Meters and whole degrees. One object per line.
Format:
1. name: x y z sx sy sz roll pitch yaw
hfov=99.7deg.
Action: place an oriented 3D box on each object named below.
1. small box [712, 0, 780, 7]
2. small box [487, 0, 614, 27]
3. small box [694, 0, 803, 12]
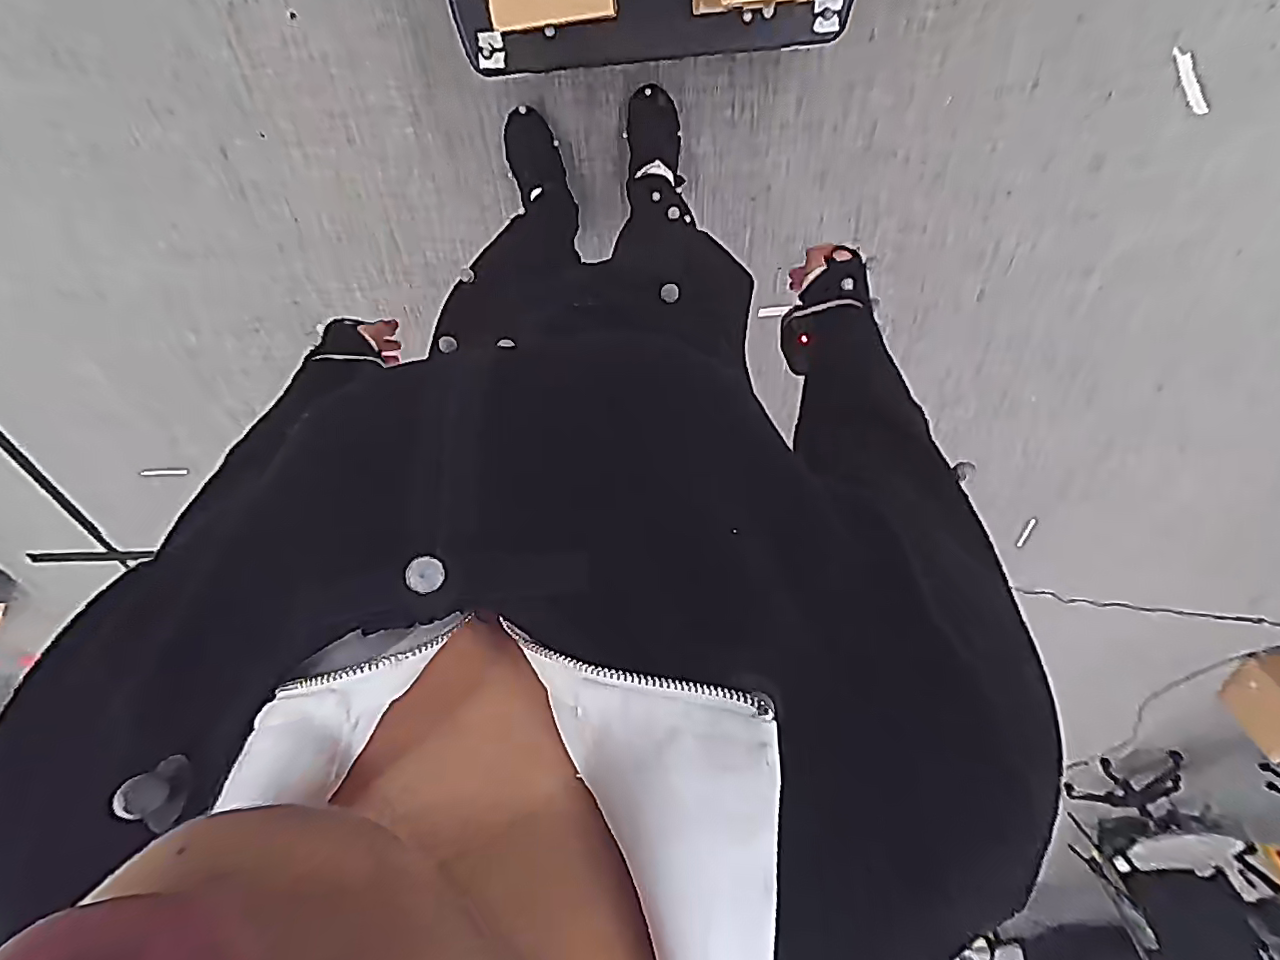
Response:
1. small box: 0.165 -0.682 0.637 0.168 0.176 0.179 -4 131 4
2. small box: -0.133 -0.768 0.780 0.179 0.176 0.168 -5 130 4
3. small box: 0.157 -0.785 0.765 0.168 0.176 0.179 -4 131 4
